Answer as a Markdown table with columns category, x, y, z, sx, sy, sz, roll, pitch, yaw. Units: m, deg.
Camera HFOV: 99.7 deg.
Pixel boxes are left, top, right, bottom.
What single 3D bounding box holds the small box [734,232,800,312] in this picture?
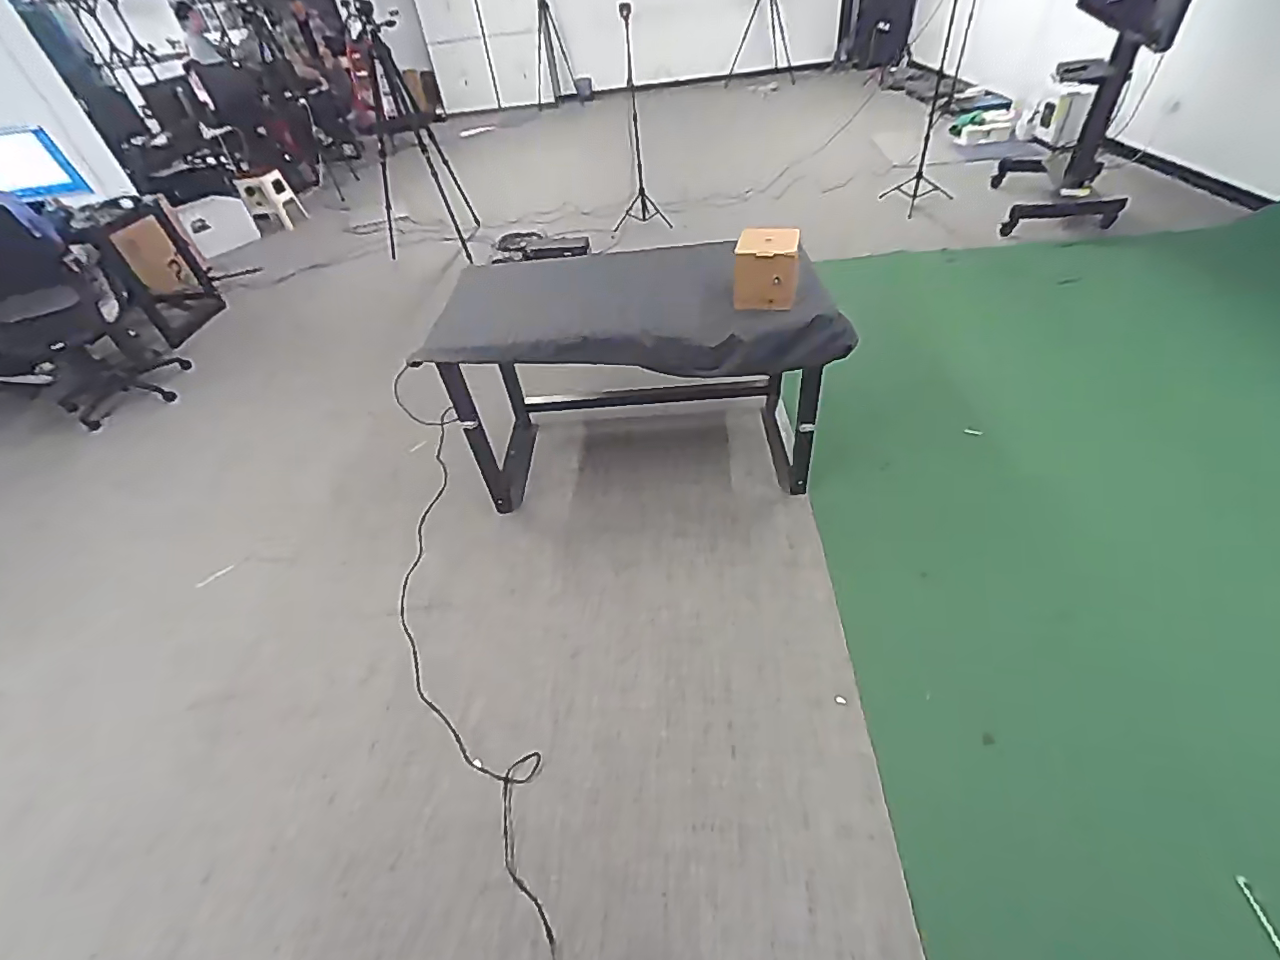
| category | x | y | z | sx | sy | sz | roll | pitch | yaw |
| --- | --- | --- | --- | --- | --- | --- | --- | --- | --- |
| small box | 0.365 | -0.598 | 1.559 | 0.168 | 0.176 | 0.179 | 7 | 43 | 15 |
